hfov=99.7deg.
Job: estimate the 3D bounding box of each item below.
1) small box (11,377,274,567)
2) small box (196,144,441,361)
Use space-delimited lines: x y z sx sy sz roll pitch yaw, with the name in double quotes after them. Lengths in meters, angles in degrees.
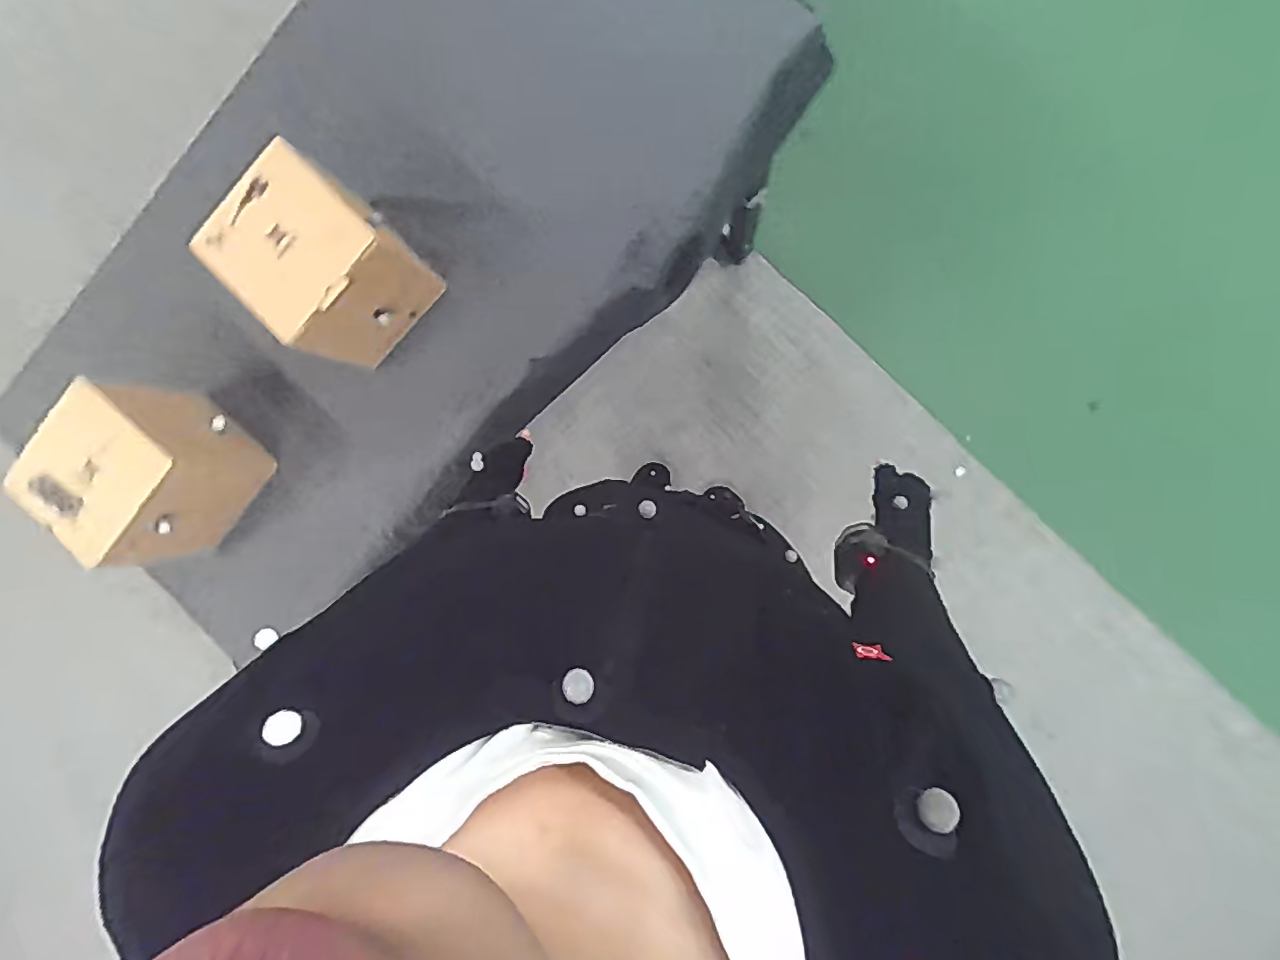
-0.655 -0.010 0.735 0.168 0.176 0.179 40 94 4 "small box"
-0.397 -0.273 0.701 0.179 0.176 0.168 45 95 3 "small box"
